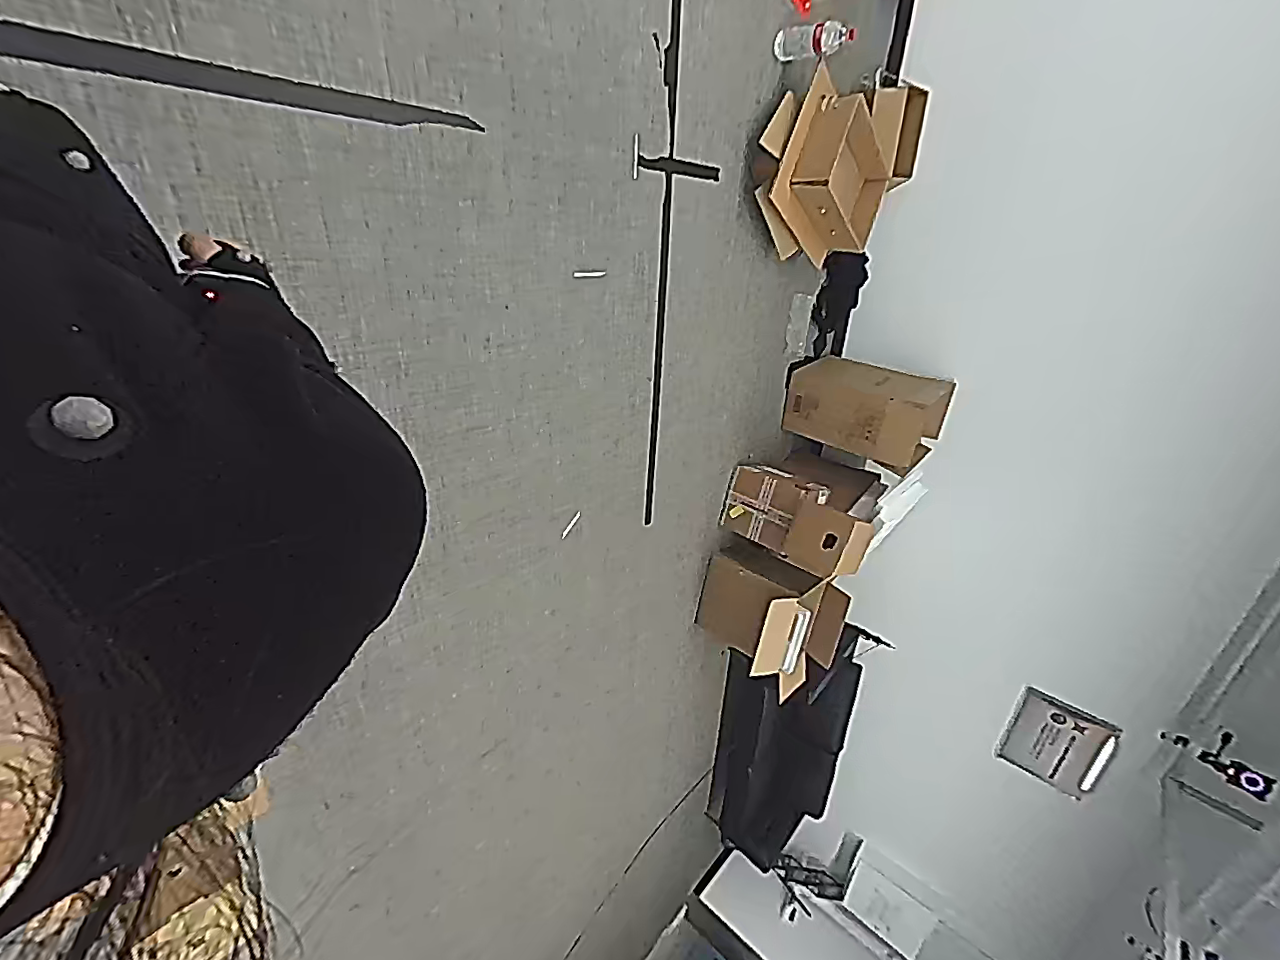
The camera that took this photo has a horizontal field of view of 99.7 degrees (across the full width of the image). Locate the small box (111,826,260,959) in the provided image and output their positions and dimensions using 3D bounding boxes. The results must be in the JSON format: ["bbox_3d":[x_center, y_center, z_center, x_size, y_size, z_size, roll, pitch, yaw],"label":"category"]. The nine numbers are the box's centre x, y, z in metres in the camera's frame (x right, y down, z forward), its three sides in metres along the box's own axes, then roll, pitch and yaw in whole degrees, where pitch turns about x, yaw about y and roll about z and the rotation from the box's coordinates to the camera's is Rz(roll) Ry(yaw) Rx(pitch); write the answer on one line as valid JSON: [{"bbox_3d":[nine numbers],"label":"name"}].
[{"bbox_3d":[-0.837,0.787,0.998,0.168,0.176,0.179,-19,122,-46],"label":"small box"}]
